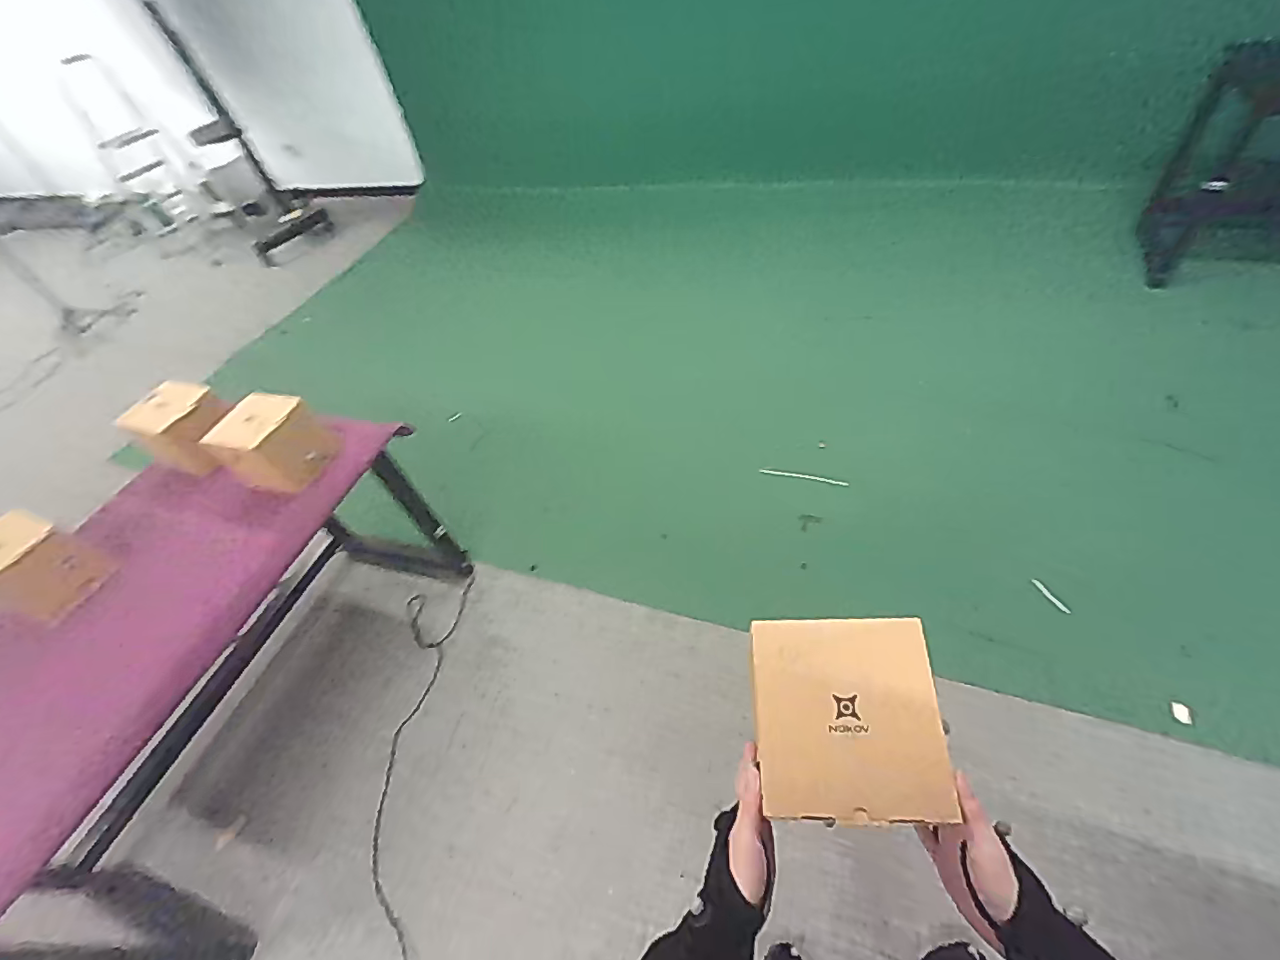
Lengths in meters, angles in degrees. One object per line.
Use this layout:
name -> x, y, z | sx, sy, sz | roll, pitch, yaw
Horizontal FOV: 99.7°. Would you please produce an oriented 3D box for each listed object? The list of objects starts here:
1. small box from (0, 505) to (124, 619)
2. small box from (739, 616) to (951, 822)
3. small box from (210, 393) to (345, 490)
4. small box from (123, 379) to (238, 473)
small box -> -1.312, 0.184, 1.186 | 0.179, 0.176, 0.168 | 12, 53, 20
small box -> 0.196, 0.252, 0.577 | 0.168, 0.176, 0.179 | -3, 64, 8
small box -> -0.881, -0.092, 1.330 | 0.179, 0.176, 0.168 | 9, 54, 19
small box -> -1.177, -0.139, 1.430 | 0.179, 0.176, 0.168 | 12, 54, 17
